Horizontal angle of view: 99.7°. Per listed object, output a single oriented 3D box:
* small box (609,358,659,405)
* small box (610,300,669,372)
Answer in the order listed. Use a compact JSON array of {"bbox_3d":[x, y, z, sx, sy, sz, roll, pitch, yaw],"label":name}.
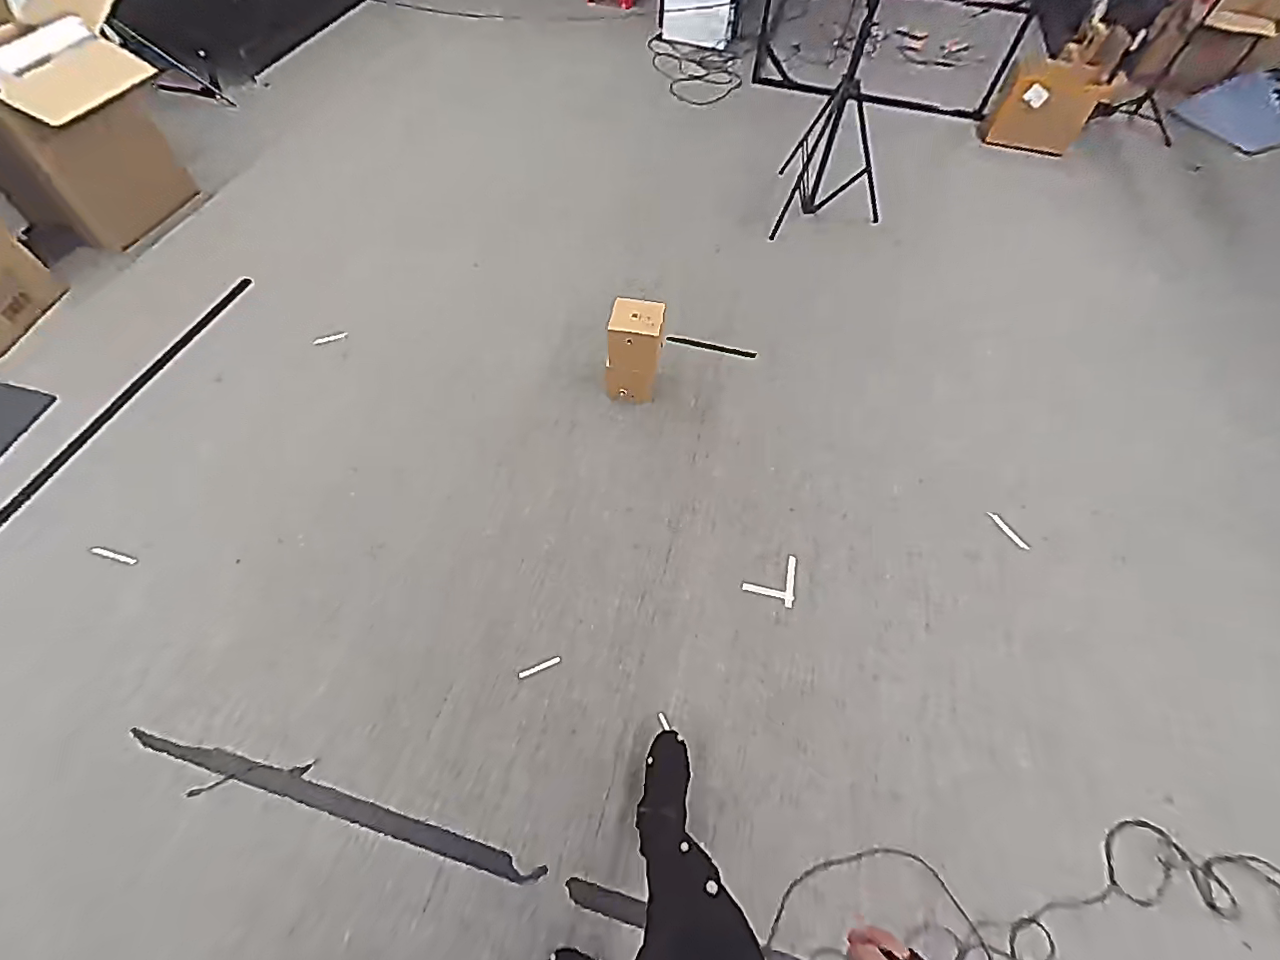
[{"bbox_3d":[-0.018,-0.411,2.025,0.168,0.176,0.179,11,58,5],"label":"small box"},{"bbox_3d":[-0.001,-0.498,1.887,0.179,0.176,0.168,9,58,5],"label":"small box"}]
